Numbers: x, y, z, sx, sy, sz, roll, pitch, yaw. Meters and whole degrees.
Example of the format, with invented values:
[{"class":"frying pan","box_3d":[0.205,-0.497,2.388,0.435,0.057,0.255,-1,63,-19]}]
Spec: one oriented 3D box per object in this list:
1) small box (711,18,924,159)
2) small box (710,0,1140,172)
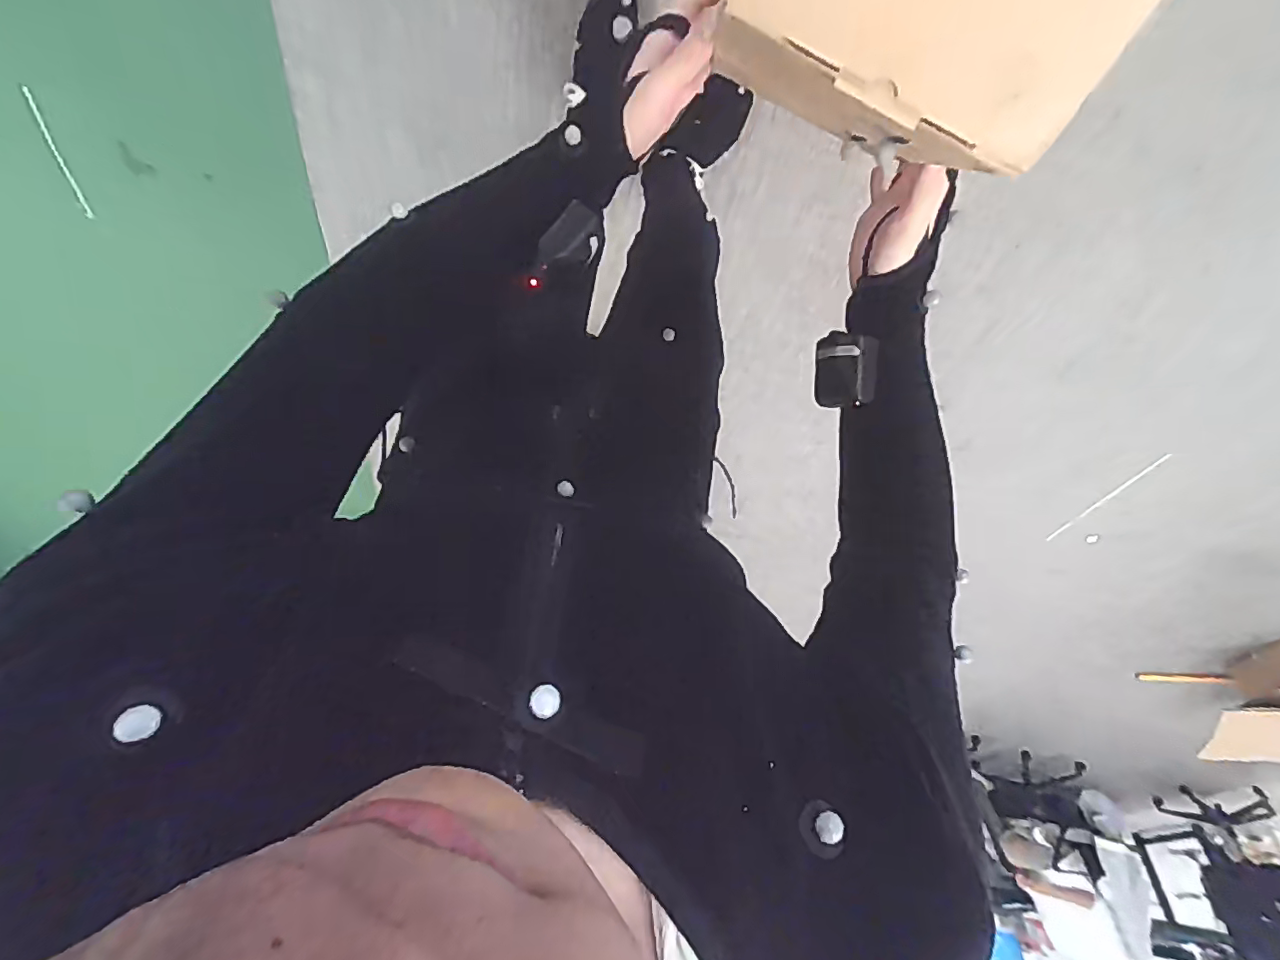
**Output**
[{"class":"small box","box_3d":[0.168,-0.373,0.406,0.179,0.176,0.168,23,124,-8]},{"class":"small box","box_3d":[0.148,-0.286,0.268,0.168,0.176,0.179,23,123,-9]}]
